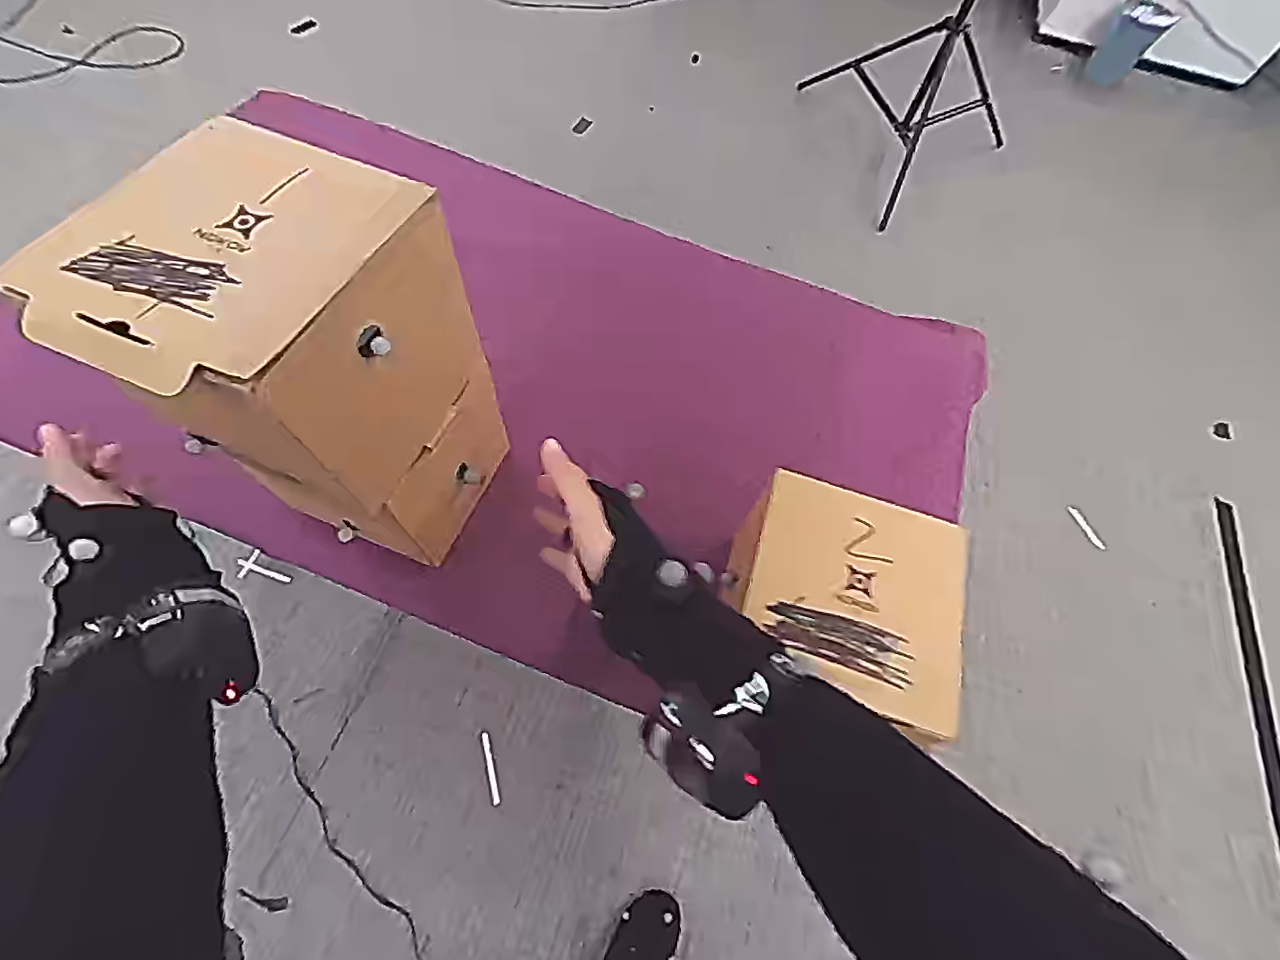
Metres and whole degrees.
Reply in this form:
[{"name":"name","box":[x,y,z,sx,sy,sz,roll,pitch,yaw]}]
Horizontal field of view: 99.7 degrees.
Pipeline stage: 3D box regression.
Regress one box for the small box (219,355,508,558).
[{"name":"small box","box":[-0.248,-0.039,0.532,0.179,0.176,0.168,22,64,5]}]

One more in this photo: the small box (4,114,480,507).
[{"name":"small box","box":[-0.233,-0.106,0.381,0.168,0.176,0.179,22,63,6]}]
